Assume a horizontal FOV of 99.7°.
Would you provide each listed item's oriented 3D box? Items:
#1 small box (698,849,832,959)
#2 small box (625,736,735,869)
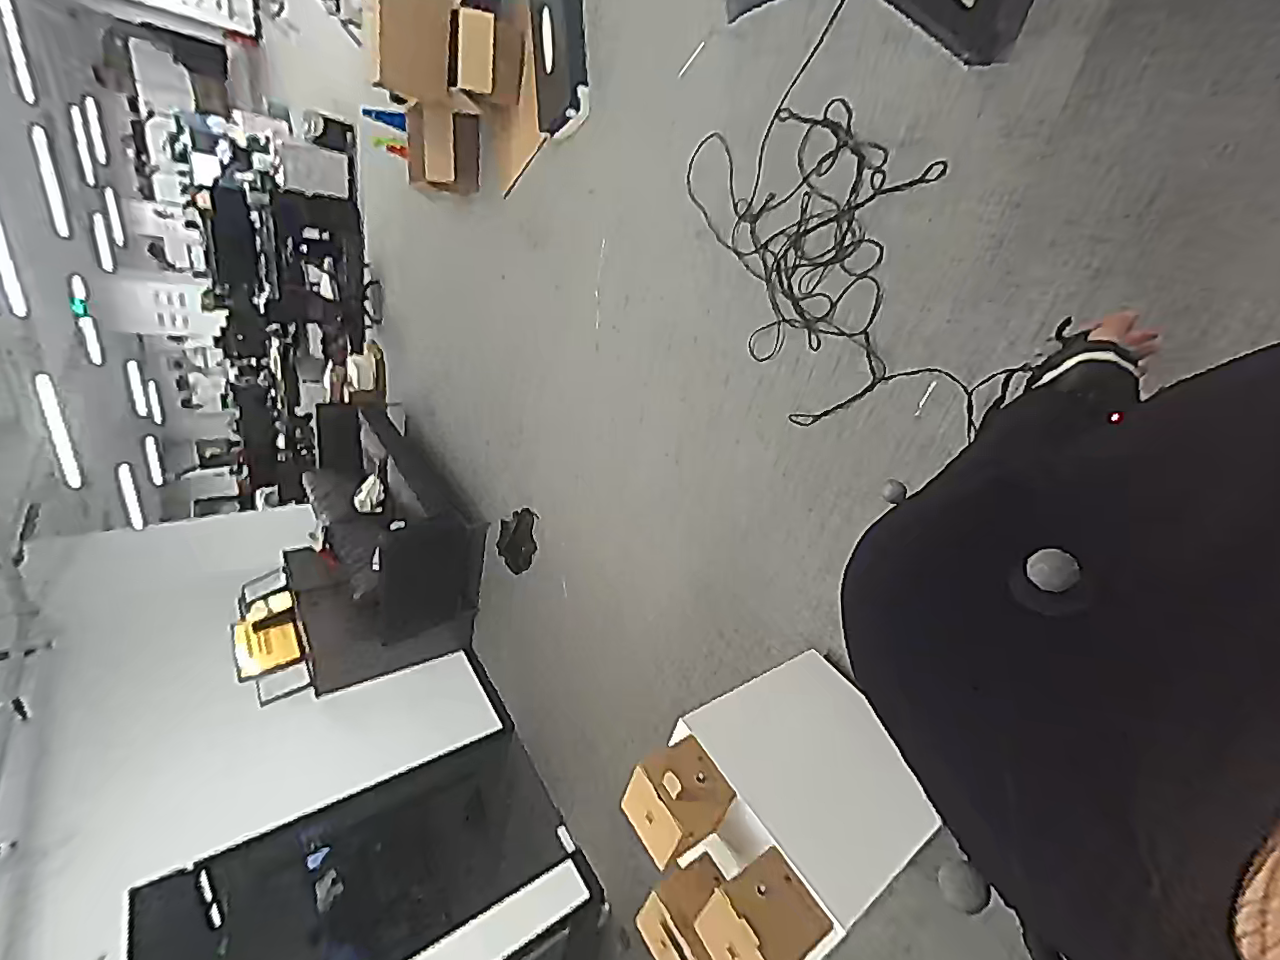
[{"bbox_3d":[0.247,0.881,1.067,0.168,0.176,0.179,45,132,41],"label":"small box"},{"bbox_3d":[0.091,0.733,1.241,0.168,0.176,0.179,43,130,39],"label":"small box"}]
